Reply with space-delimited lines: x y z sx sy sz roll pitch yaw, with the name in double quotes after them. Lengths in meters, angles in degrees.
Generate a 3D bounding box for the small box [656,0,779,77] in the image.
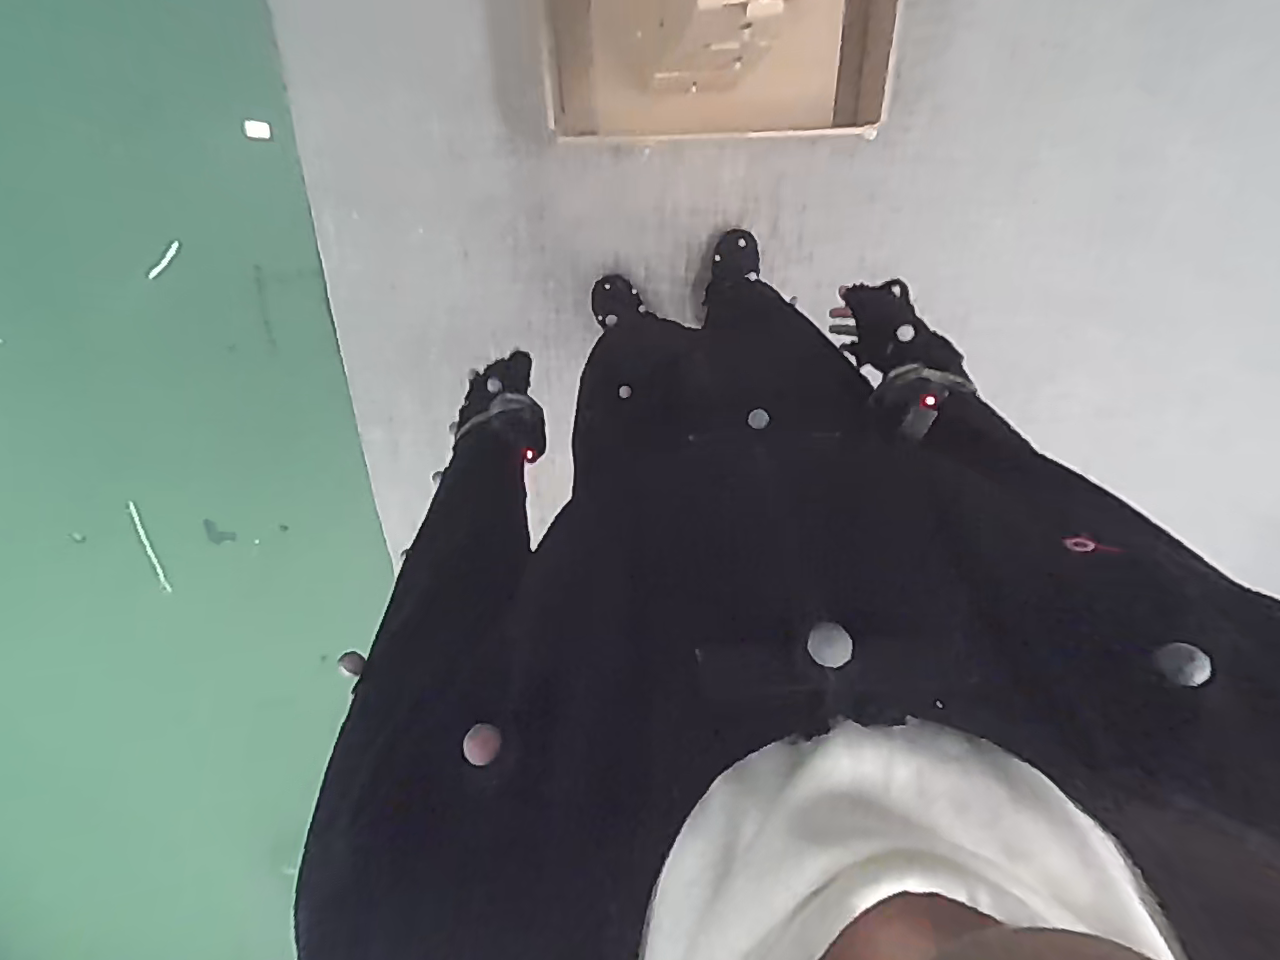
0.115 -0.734 0.822 0.168 0.176 0.179 -4 115 -4 "small box"
